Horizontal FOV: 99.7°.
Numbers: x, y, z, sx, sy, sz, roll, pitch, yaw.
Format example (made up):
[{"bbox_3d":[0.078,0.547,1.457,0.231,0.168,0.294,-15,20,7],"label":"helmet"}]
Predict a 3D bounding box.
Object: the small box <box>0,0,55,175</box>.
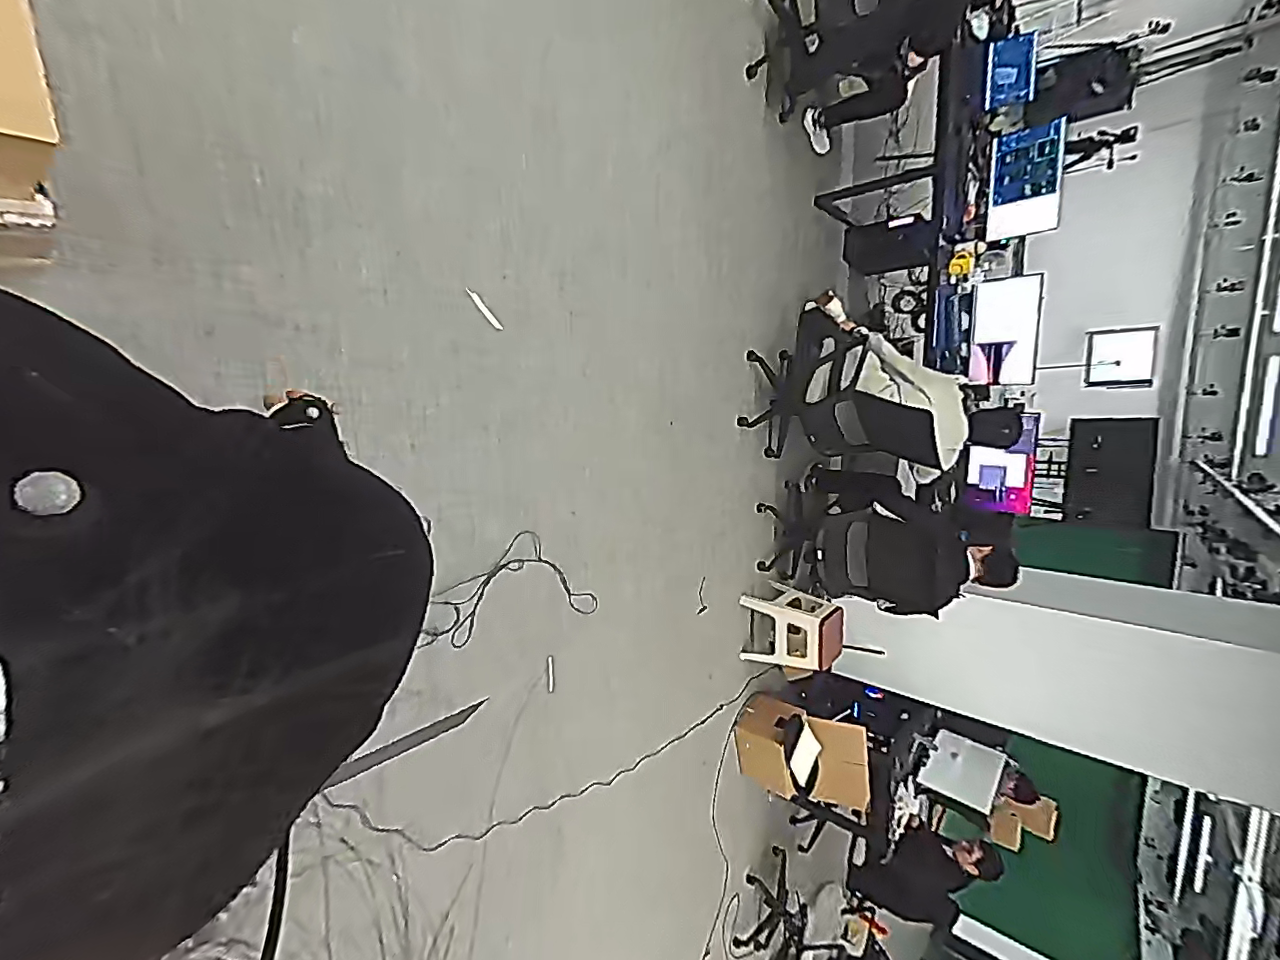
[{"bbox_3d":[-0.749,-0.442,0.561,0.168,0.176,0.179,-16,109,-49],"label":"small box"}]
